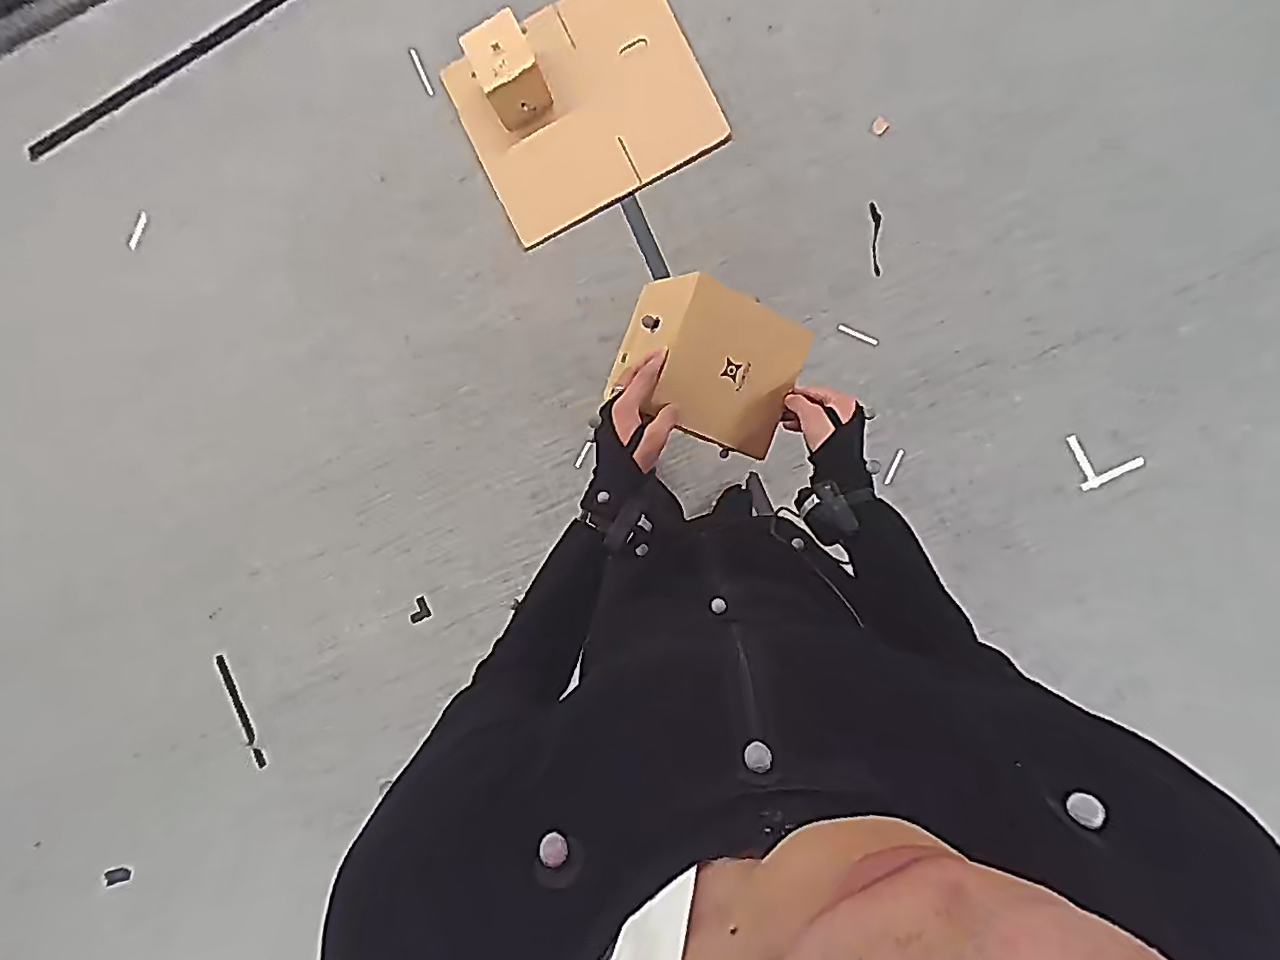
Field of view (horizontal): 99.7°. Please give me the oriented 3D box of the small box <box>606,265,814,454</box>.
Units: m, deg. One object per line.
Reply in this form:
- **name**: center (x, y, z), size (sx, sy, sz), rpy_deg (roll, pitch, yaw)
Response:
- **small box**: center (0.077, -0.149, 0.692), size (0.179, 0.176, 0.168), rpy_deg (19, 97, -26)

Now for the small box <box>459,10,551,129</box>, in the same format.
- **small box**: center (-0.380, -1.160, 1.544), size (0.168, 0.176, 0.179), rpy_deg (-26, 89, 7)
